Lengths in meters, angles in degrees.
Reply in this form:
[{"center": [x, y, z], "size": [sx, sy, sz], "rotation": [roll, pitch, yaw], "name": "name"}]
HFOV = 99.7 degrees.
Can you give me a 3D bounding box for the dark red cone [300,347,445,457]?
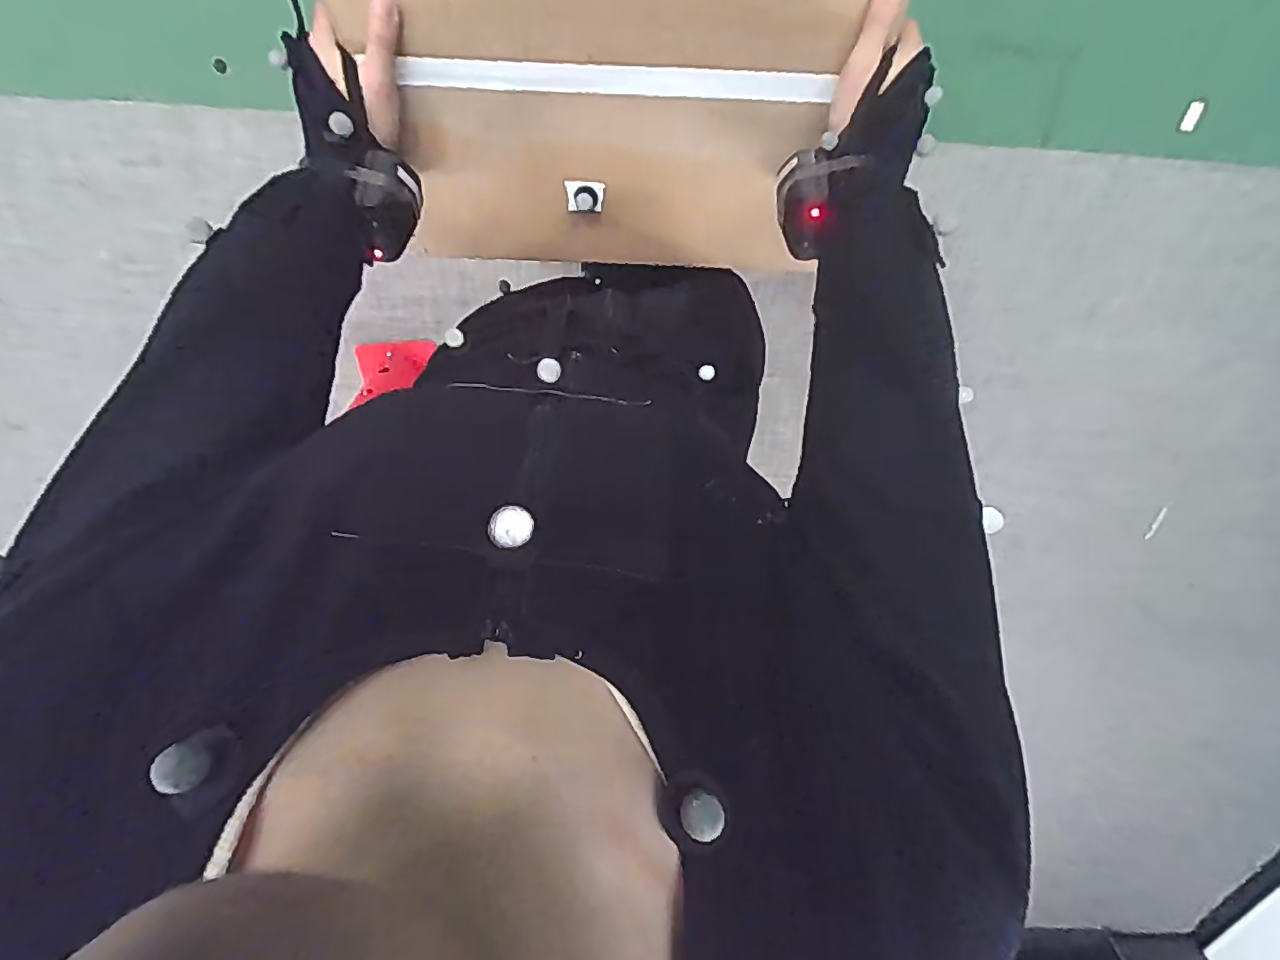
[{"center": [-0.576, -0.140, 1.132], "size": [0.202, 0.394, 0.201], "rotation": [-4, 115, 3], "name": "dark red cone"}]
